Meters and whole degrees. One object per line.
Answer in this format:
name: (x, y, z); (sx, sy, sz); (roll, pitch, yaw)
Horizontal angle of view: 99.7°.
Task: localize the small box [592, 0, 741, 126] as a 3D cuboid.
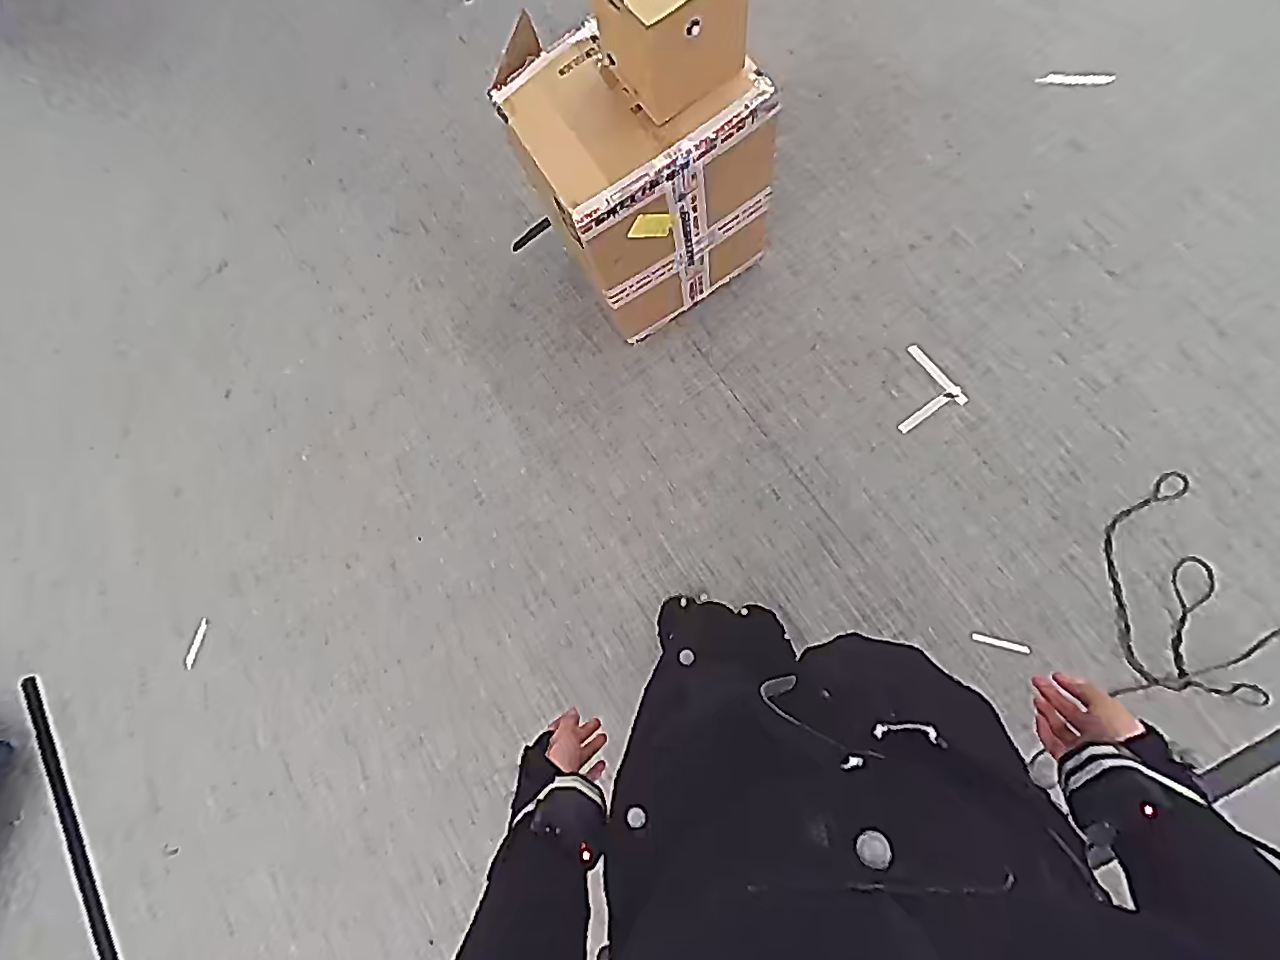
small box: (0.045, -0.699, 0.829); (0.179, 0.176, 0.168); (-35, 78, 0)
